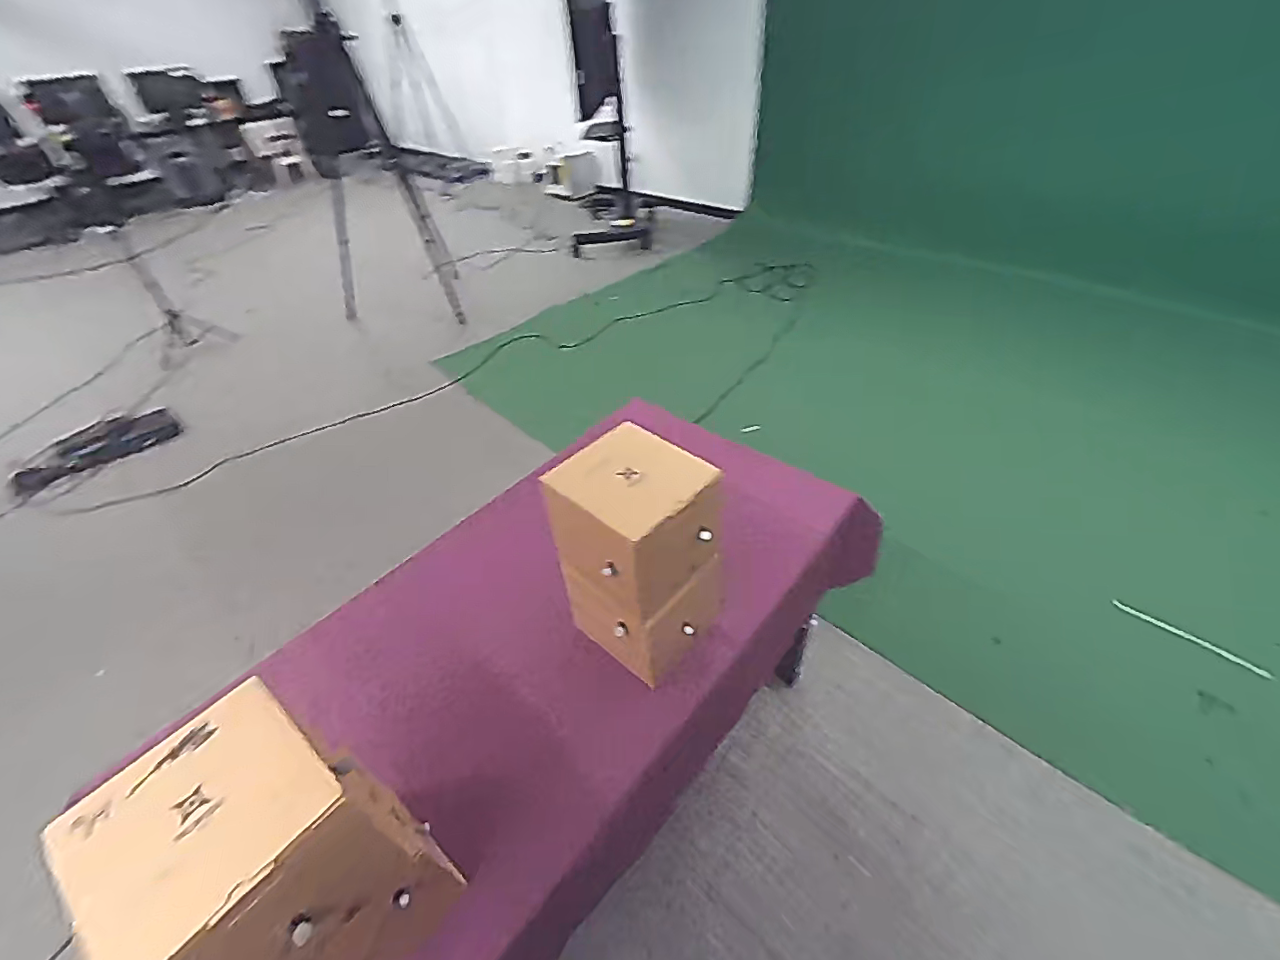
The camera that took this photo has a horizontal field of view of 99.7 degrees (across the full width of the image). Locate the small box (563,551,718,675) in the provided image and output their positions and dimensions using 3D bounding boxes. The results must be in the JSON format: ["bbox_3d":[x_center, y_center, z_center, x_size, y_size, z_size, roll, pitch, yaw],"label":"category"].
[{"bbox_3d":[0.006,0.178,0.856,0.179,0.176,0.168,28,51,33],"label":"small box"}]

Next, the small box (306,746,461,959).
[{"bbox_3d":[-0.329,0.446,0.592,0.168,0.176,0.179,25,49,31],"label":"small box"}]

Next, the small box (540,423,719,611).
[{"bbox_3d":[-0.008,0.054,0.750,0.179,0.176,0.168,30,52,34],"label":"small box"}]

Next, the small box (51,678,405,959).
[{"bbox_3d":[-0.346,0.323,0.483,0.179,0.176,0.168,26,49,30],"label":"small box"}]
